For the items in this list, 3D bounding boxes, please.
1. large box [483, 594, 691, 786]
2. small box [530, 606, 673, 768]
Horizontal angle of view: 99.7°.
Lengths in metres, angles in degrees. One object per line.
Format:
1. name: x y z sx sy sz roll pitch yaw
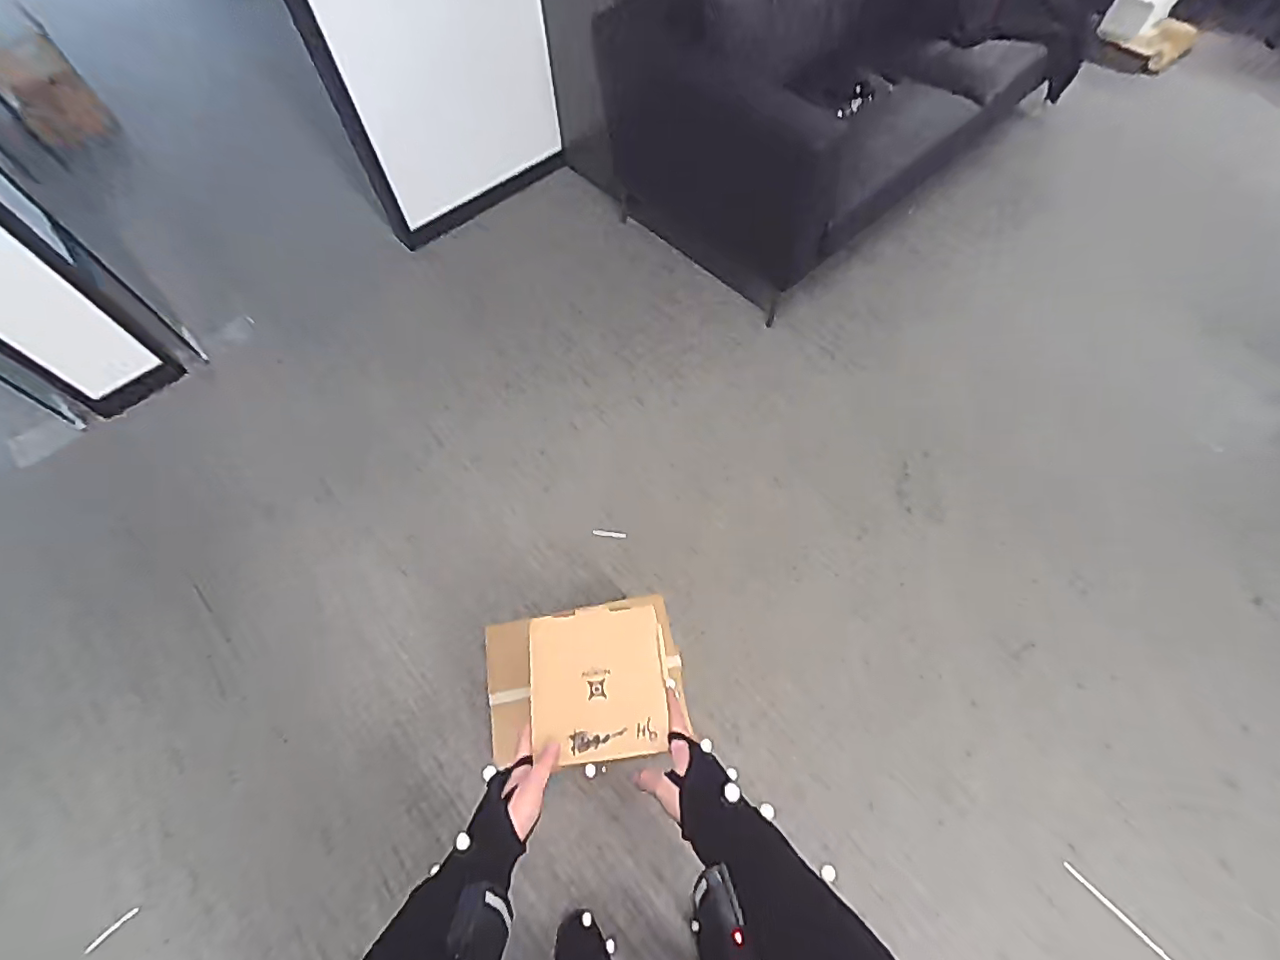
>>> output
1. large box: -0.116 0.491 1.262 0.408 0.320 0.320 -10 62 -4
2. small box: -0.050 0.282 0.726 0.168 0.176 0.179 -6 63 -1
